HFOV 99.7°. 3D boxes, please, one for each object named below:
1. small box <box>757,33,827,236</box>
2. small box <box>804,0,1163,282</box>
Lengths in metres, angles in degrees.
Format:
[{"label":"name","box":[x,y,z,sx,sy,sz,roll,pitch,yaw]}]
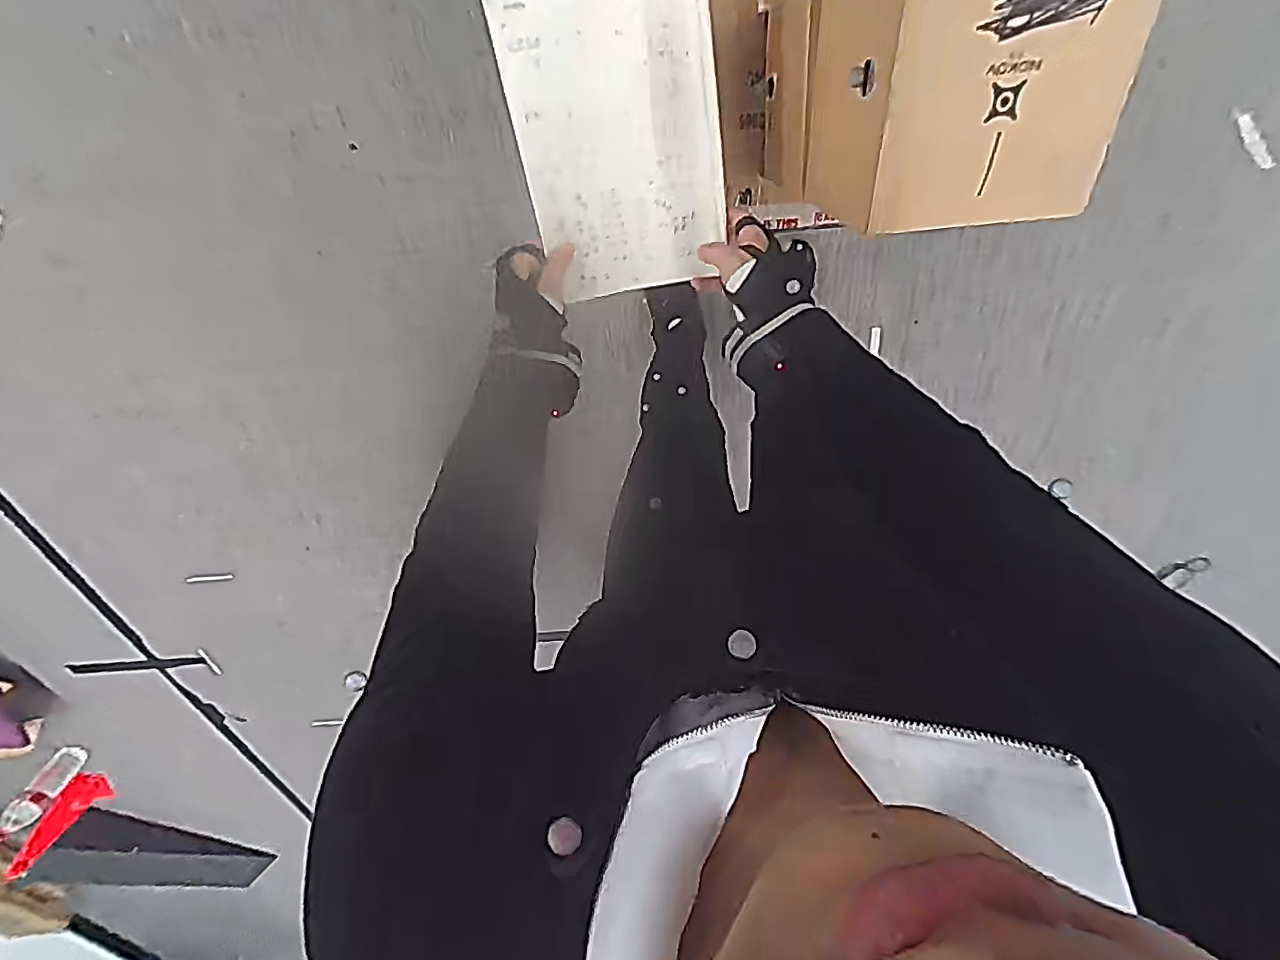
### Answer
[{"label":"small box","box":[0.233,-0.375,0.575,0.179,0.176,0.168,-7,126,2]},{"label":"small box","box":[0.244,-0.279,0.442,0.168,0.176,0.179,-5,126,0]}]
